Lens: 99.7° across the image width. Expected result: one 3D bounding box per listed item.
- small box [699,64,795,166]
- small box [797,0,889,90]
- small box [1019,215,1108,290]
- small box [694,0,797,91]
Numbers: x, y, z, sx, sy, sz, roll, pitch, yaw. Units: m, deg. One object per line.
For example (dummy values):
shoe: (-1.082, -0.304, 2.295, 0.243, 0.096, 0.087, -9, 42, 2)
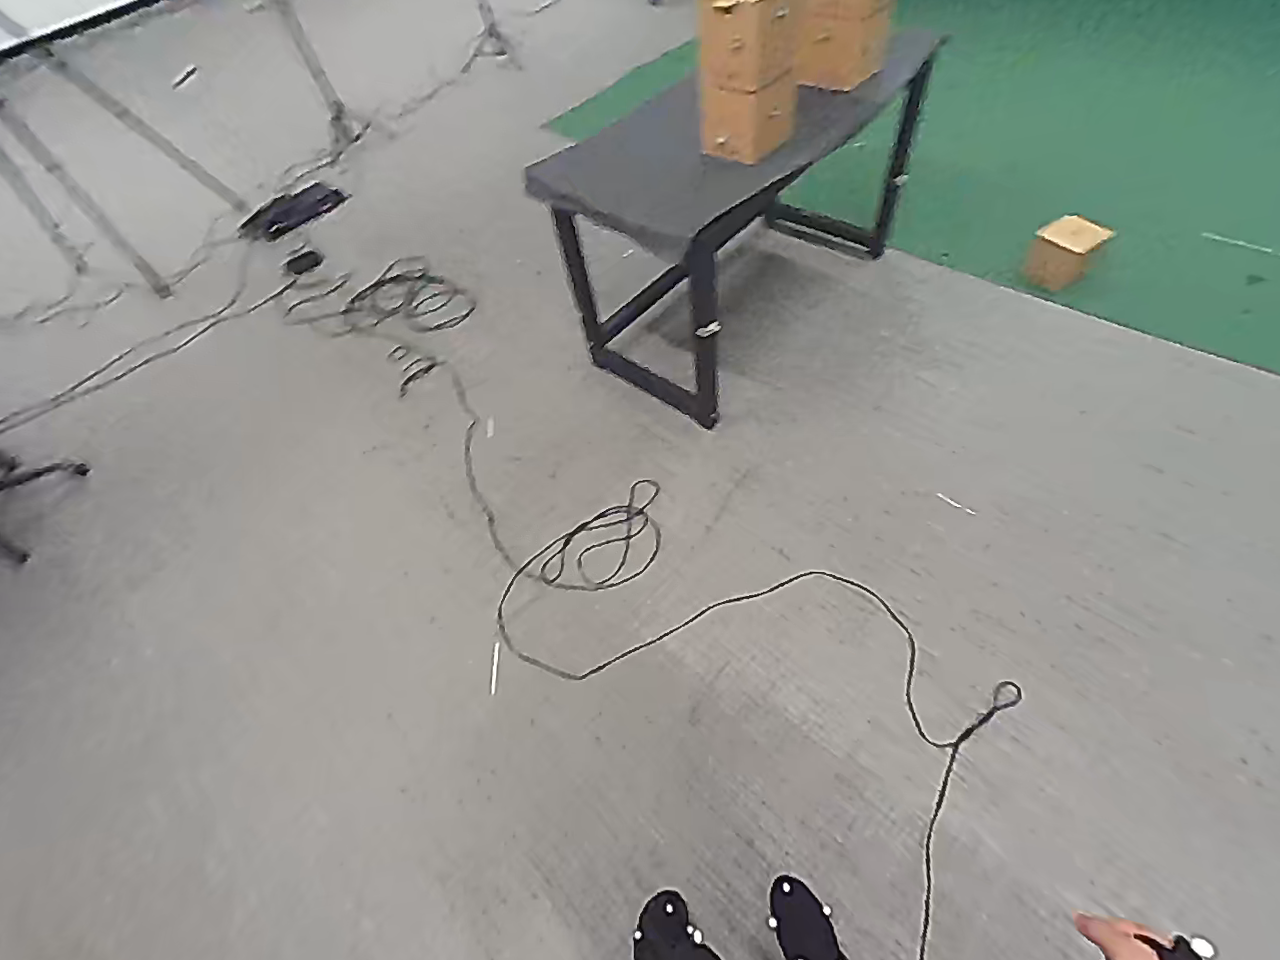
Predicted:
small box: (0.268, -0.937, 1.371, 0.168, 0.176, 0.179, 35, 68, 28)
small box: (0.564, -1.233, 1.523, 0.179, 0.176, 0.168, 34, 67, 28)
small box: (1.539, -0.832, 1.985, 0.179, 0.176, 0.168, -30, 58, -12)
small box: (0.245, -1.024, 1.236, 0.168, 0.176, 0.179, 36, 68, 27)
